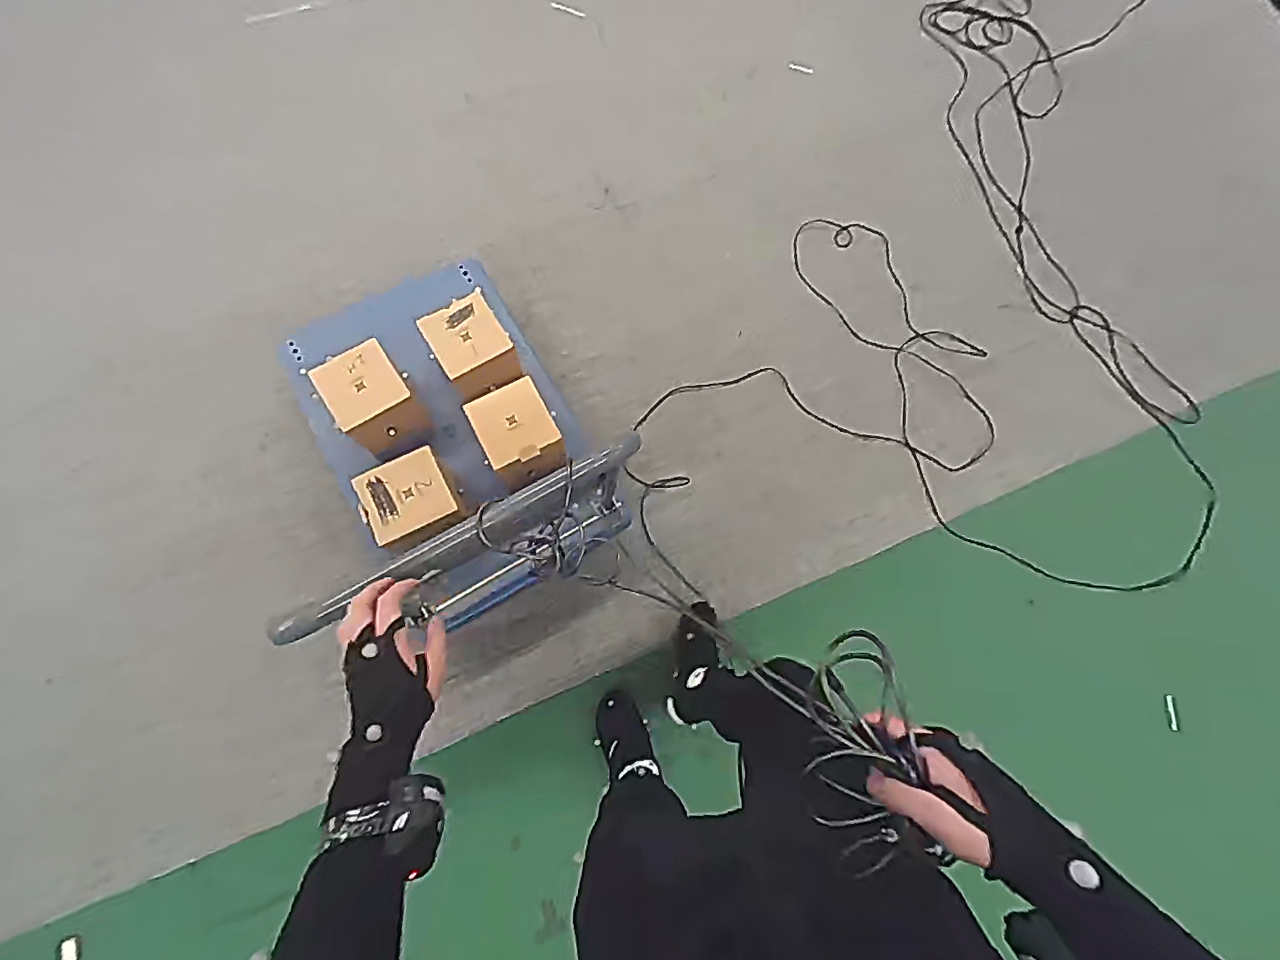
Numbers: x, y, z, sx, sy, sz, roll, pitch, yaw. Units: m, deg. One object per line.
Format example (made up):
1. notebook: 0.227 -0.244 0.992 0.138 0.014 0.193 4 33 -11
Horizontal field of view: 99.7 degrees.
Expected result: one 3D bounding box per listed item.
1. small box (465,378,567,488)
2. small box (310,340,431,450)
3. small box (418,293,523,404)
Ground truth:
1. small box: -0.286 -0.105 1.277 0.168 0.176 0.179 -28 78 -10
2. small box: -0.627 -0.189 1.280 0.168 0.176 0.179 -33 79 -12
3. small box: -0.408 -0.313 1.325 0.168 0.176 0.179 -31 79 -10
